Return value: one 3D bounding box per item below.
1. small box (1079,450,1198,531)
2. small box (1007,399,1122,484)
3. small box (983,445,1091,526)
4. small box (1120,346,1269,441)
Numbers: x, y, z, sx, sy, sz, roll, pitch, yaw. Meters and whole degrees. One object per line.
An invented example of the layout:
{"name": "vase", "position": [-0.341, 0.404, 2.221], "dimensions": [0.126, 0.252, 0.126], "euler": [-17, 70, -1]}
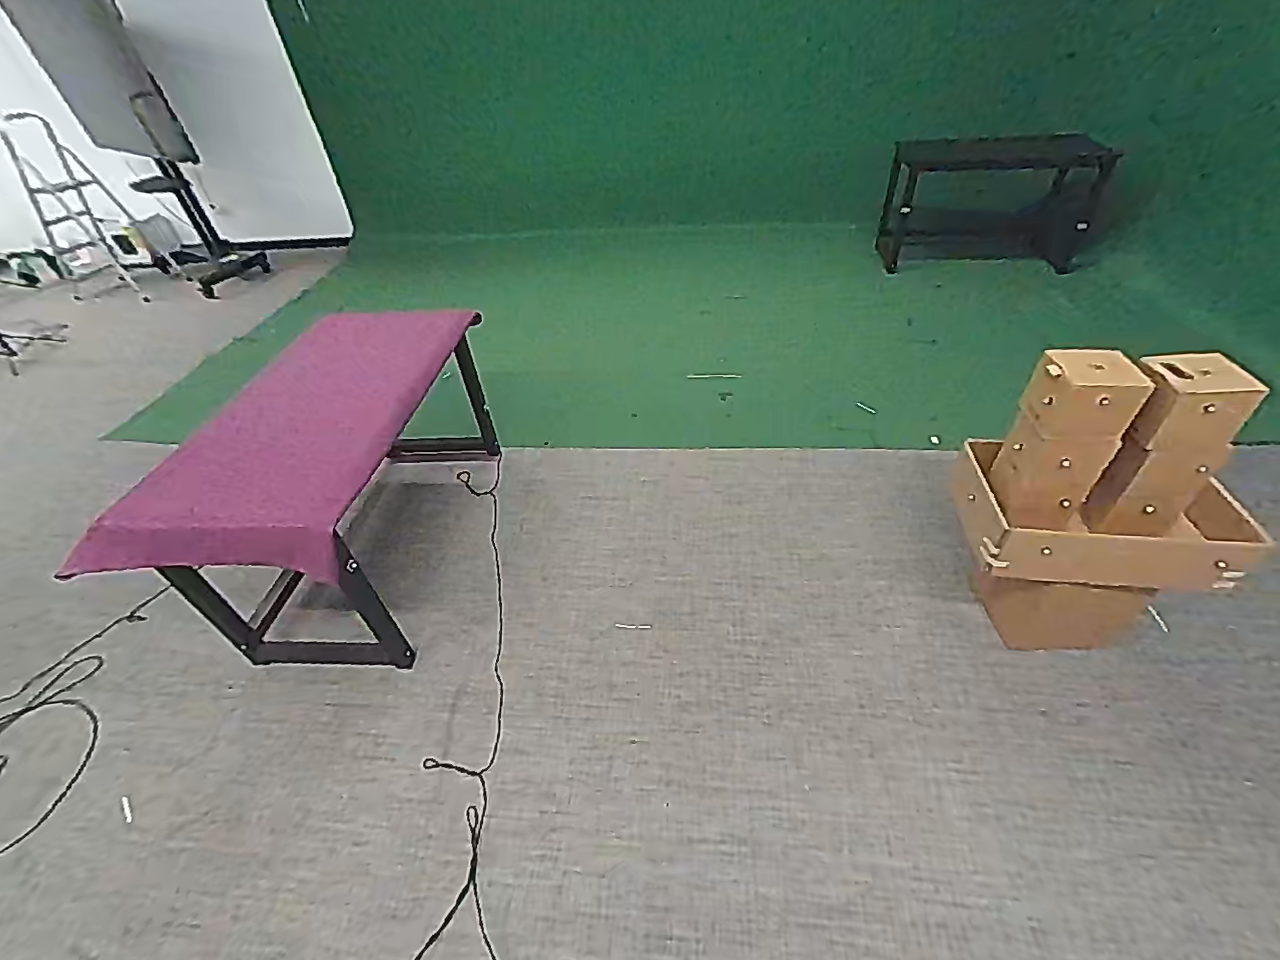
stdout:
{"name": "small box", "position": [1.391, 0.033, 1.533], "dimensions": [0.179, 0.176, 0.168], "euler": [-1, 43, 10]}
{"name": "small box", "position": [1.128, -0.102, 1.461], "dimensions": [0.179, 0.176, 0.168], "euler": [2, 43, 9]}
{"name": "small box", "position": [1.141, 0.019, 1.569], "dimensions": [0.179, 0.176, 0.168], "euler": [3, 42, 9]}
{"name": "small box", "position": [1.326, -0.208, 1.317], "dimensions": [0.179, 0.176, 0.168], "euler": [-2, 42, 8]}
